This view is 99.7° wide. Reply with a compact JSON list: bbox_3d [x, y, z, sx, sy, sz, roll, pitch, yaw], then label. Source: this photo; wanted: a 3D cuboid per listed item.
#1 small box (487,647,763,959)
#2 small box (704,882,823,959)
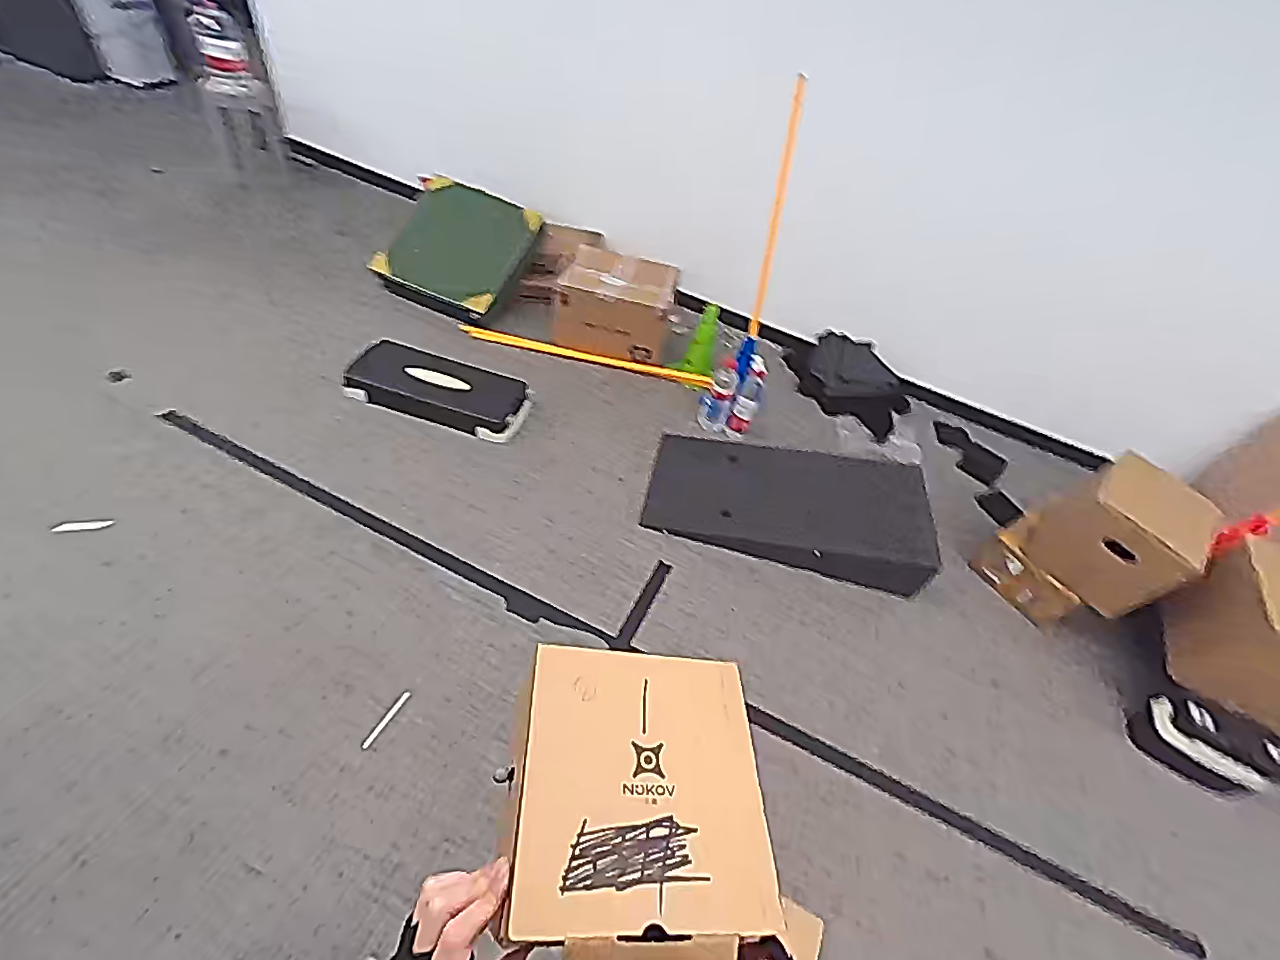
[{"bbox_3d":[-0.023,0.252,0.426,0.168,0.176,0.179,10,52,-13],"label":"small box"},{"bbox_3d":[0.244,0.962,1.099,0.168,0.176,0.179,27,48,12],"label":"small box"}]
